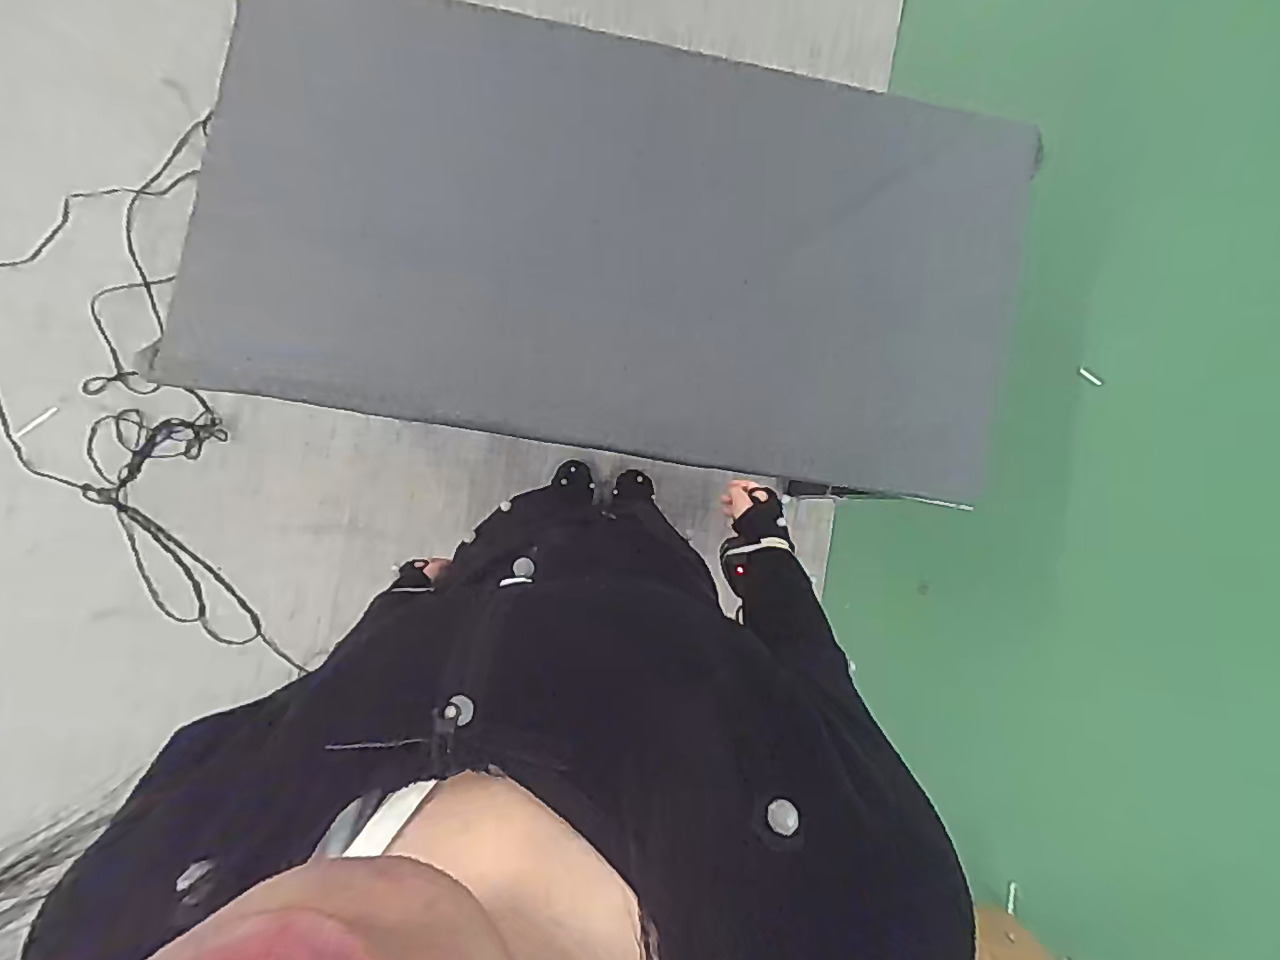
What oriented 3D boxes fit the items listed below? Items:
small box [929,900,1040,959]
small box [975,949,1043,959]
[{"bbox_3d":[0.907,1.261,1.434,0.179,0.176,0.168,10,87,-3],"label":"small box"},{"bbox_3d":[0.919,1.257,1.272,0.179,0.176,0.168,9,88,-3],"label":"small box"}]
